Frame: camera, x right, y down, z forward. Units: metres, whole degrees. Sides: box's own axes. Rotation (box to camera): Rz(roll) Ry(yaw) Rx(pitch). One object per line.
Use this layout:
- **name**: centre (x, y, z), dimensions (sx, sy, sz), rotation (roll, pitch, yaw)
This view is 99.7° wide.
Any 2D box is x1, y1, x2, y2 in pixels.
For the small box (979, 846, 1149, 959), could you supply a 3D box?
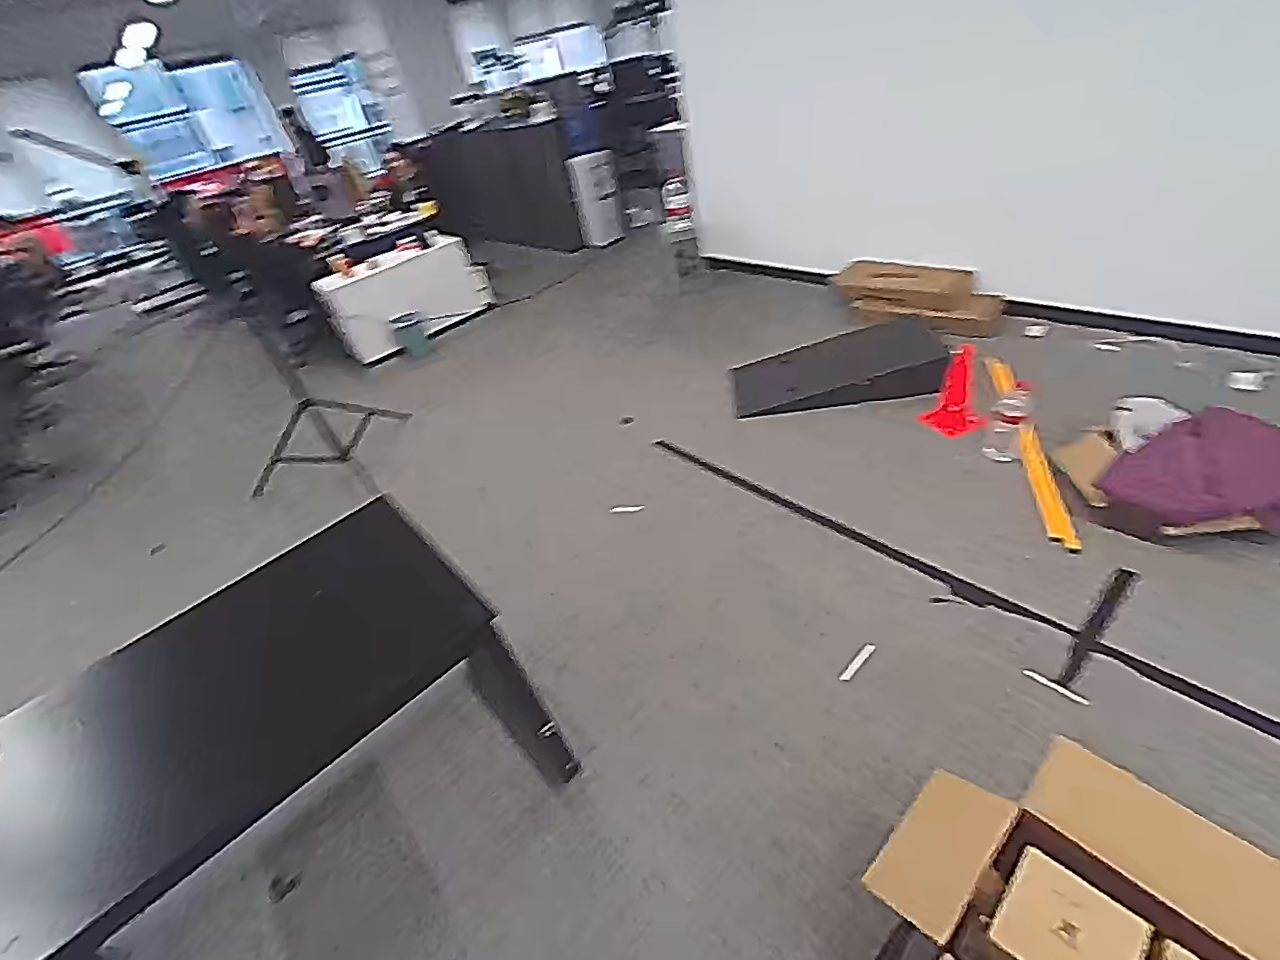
- **small box**: centre (0.685, 0.768, 0.890), dimensions (0.179, 0.176, 0.168), rotation (-36, 41, -28)
